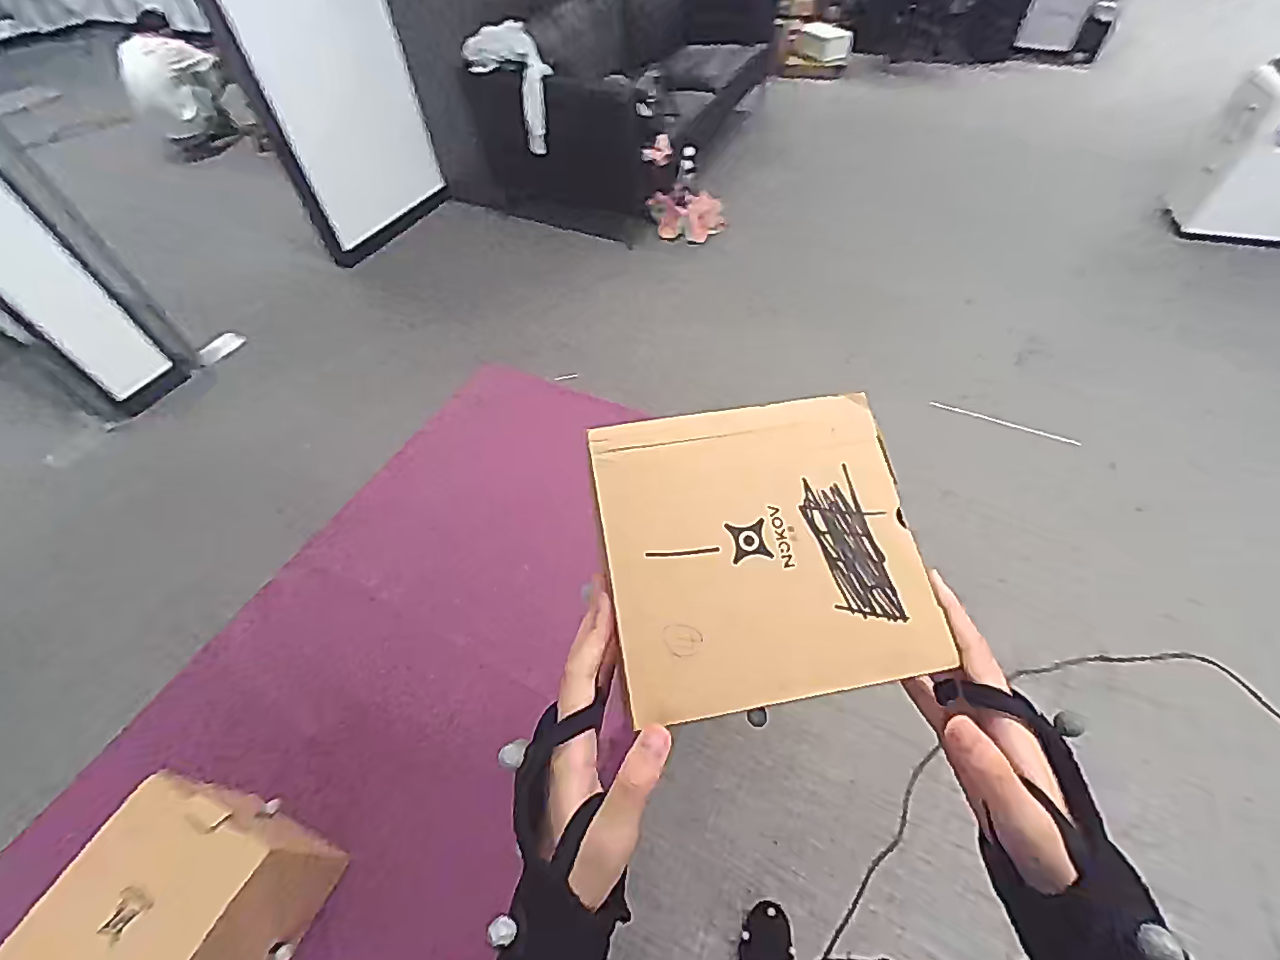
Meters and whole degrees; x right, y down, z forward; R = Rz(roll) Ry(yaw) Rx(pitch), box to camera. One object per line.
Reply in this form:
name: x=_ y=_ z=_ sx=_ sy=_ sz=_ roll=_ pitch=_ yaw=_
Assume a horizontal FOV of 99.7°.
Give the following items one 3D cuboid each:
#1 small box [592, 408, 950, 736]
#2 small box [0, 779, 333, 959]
small box: x=0.063 y=0.068 z=0.375 sx=0.179 sy=0.176 sz=0.168 roll=-8 pitch=70 yaw=-6
small box: x=-0.453 y=0.442 z=0.549 sx=0.168 sy=0.176 sz=0.179 roll=18 pitch=55 yaw=16
